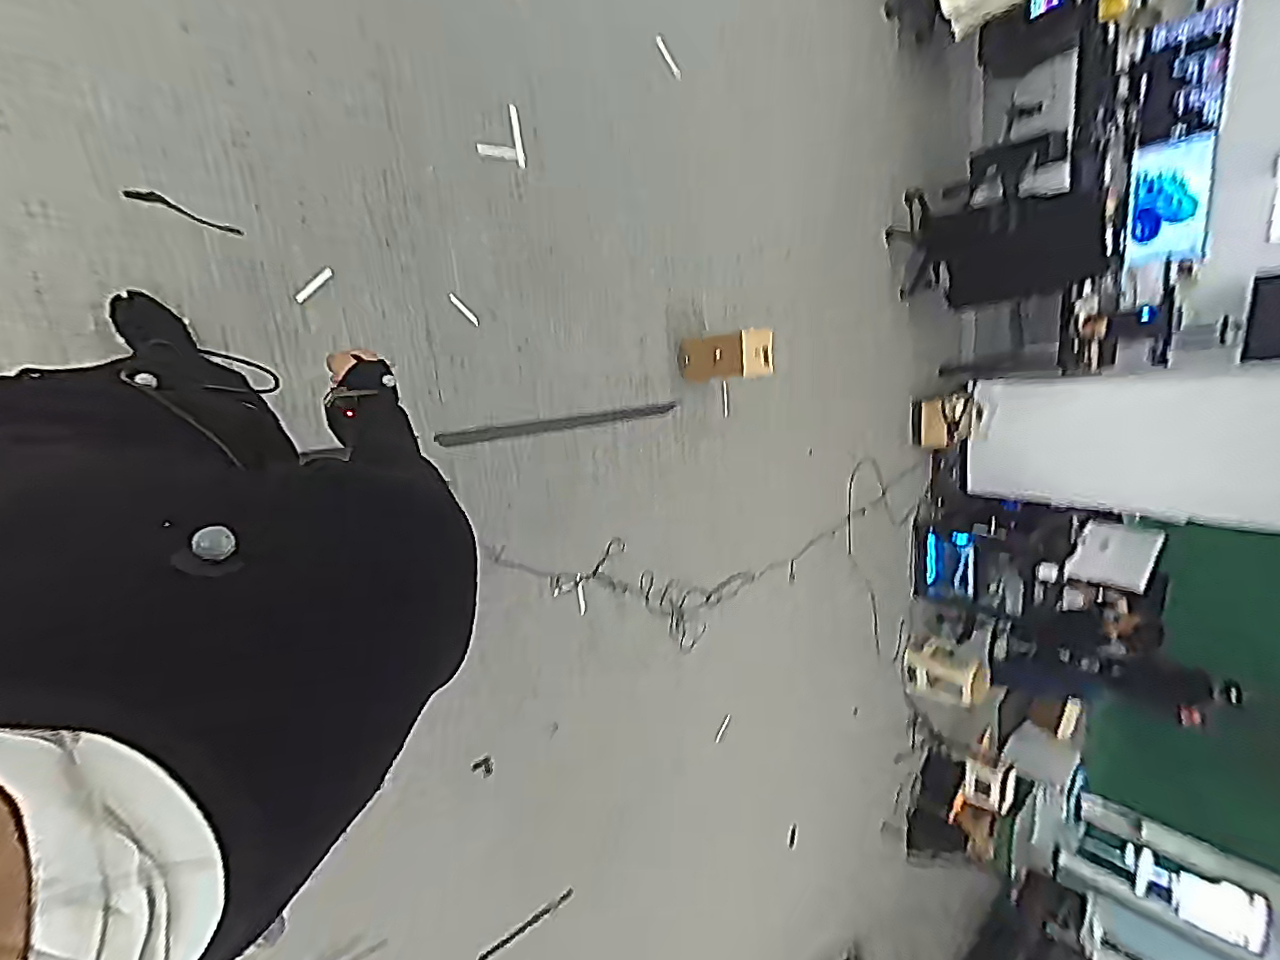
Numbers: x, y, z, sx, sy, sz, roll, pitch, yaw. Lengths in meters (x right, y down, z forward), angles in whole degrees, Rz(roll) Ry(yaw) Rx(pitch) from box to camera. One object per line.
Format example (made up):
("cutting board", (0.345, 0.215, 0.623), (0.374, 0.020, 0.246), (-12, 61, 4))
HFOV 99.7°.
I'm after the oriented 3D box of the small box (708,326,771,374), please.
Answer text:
("small box", (0.384, -0.502, 2.092), (0.179, 0.176, 0.168), (-13, 103, -37))
